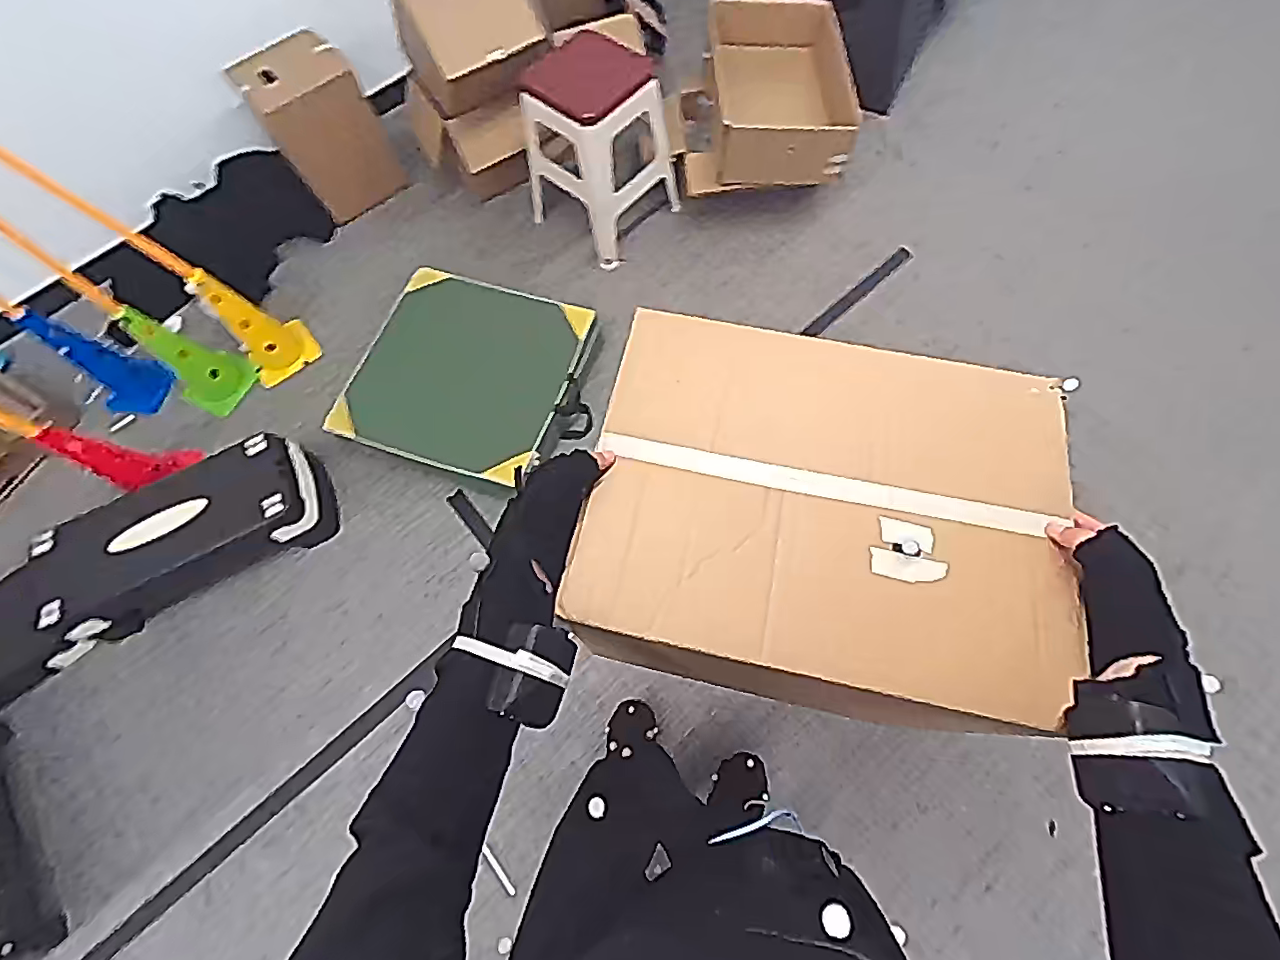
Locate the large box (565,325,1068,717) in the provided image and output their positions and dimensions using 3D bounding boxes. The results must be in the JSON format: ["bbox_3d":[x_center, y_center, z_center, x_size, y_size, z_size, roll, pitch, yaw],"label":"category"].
[{"bbox_3d":[0.158,0.068,0.617,0.408,0.320,0.320,11,68,5],"label":"large box"}]
